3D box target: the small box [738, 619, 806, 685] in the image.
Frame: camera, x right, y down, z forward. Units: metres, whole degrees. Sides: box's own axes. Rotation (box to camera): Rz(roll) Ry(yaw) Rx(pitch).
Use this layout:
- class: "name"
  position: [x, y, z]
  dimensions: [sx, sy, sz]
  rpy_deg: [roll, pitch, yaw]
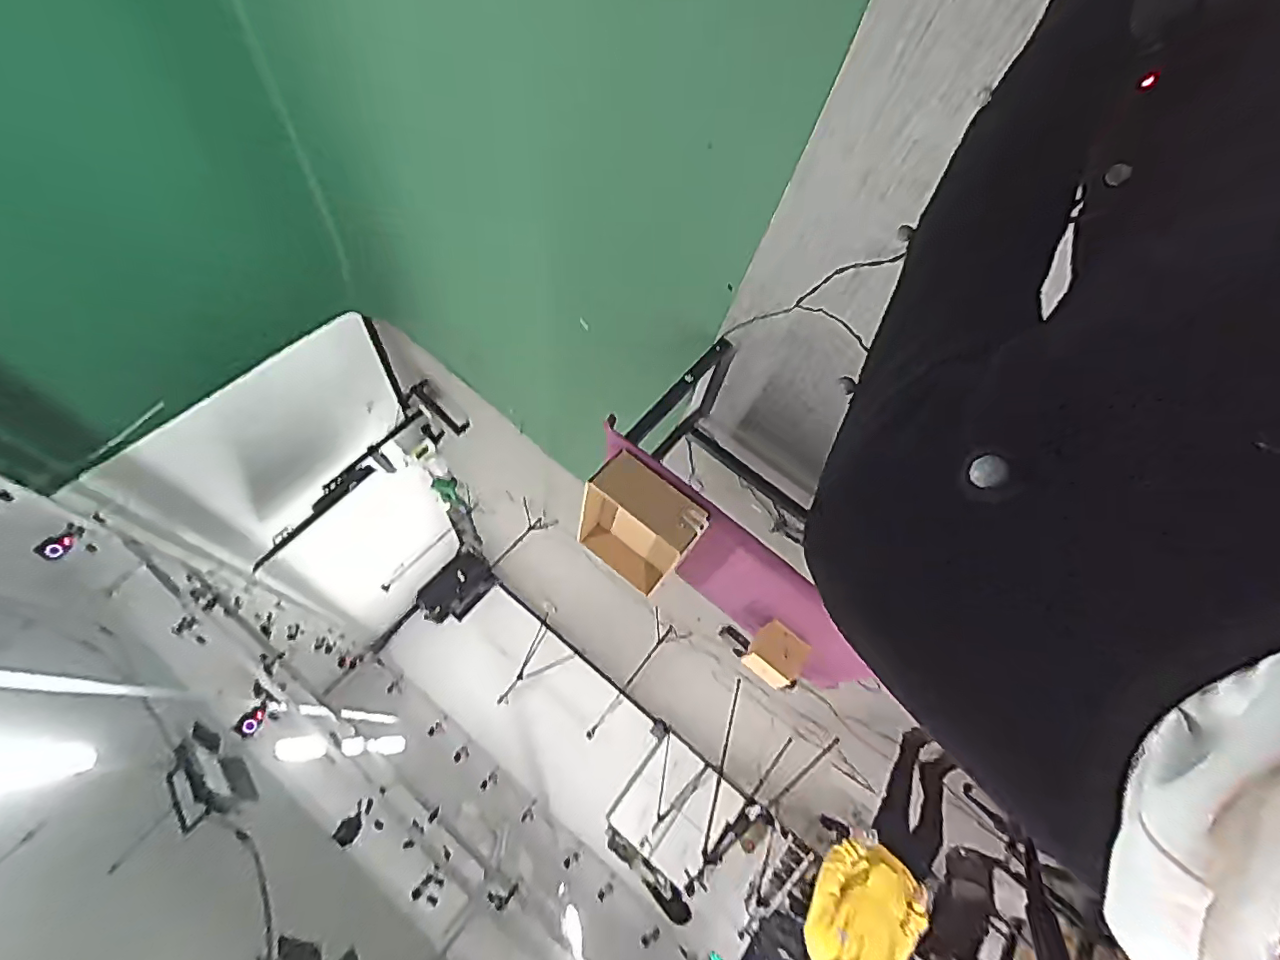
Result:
- class: "small box"
  position: [0.505, 0.653, 2.062]
  dimensions: [0.168, 0.176, 0.179]
  rpy_deg: [38, 155, 10]
